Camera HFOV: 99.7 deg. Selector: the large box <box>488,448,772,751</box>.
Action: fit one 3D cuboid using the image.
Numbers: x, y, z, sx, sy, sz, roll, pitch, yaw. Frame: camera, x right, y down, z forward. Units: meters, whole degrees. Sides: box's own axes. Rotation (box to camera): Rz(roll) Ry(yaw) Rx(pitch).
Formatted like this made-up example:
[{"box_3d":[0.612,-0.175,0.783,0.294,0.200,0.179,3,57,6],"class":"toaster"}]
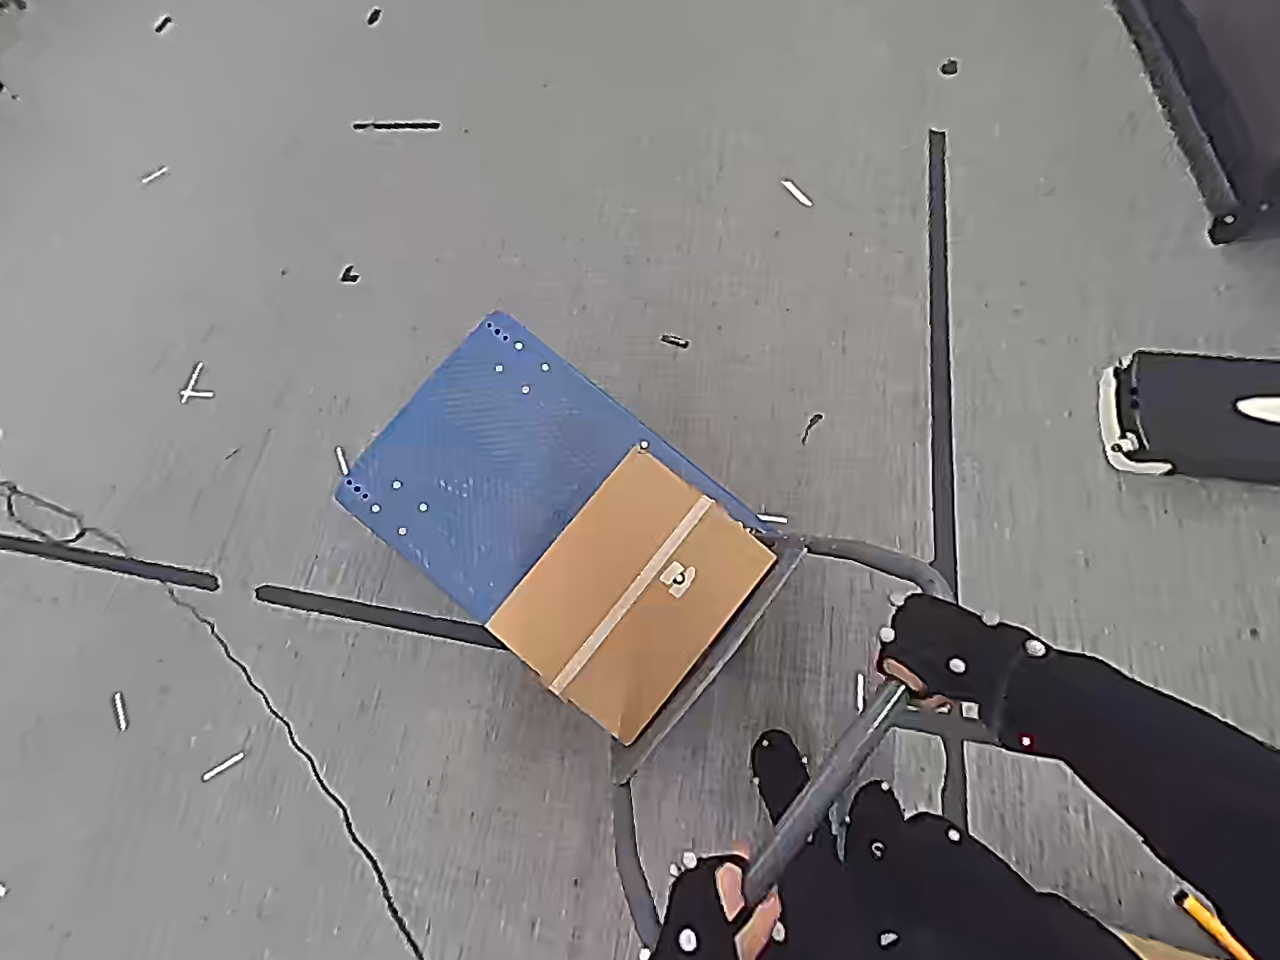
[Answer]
[{"box_3d":[-0.017,0.211,1.042,0.320,0.320,0.408,39,83,3],"class":"large box"}]
